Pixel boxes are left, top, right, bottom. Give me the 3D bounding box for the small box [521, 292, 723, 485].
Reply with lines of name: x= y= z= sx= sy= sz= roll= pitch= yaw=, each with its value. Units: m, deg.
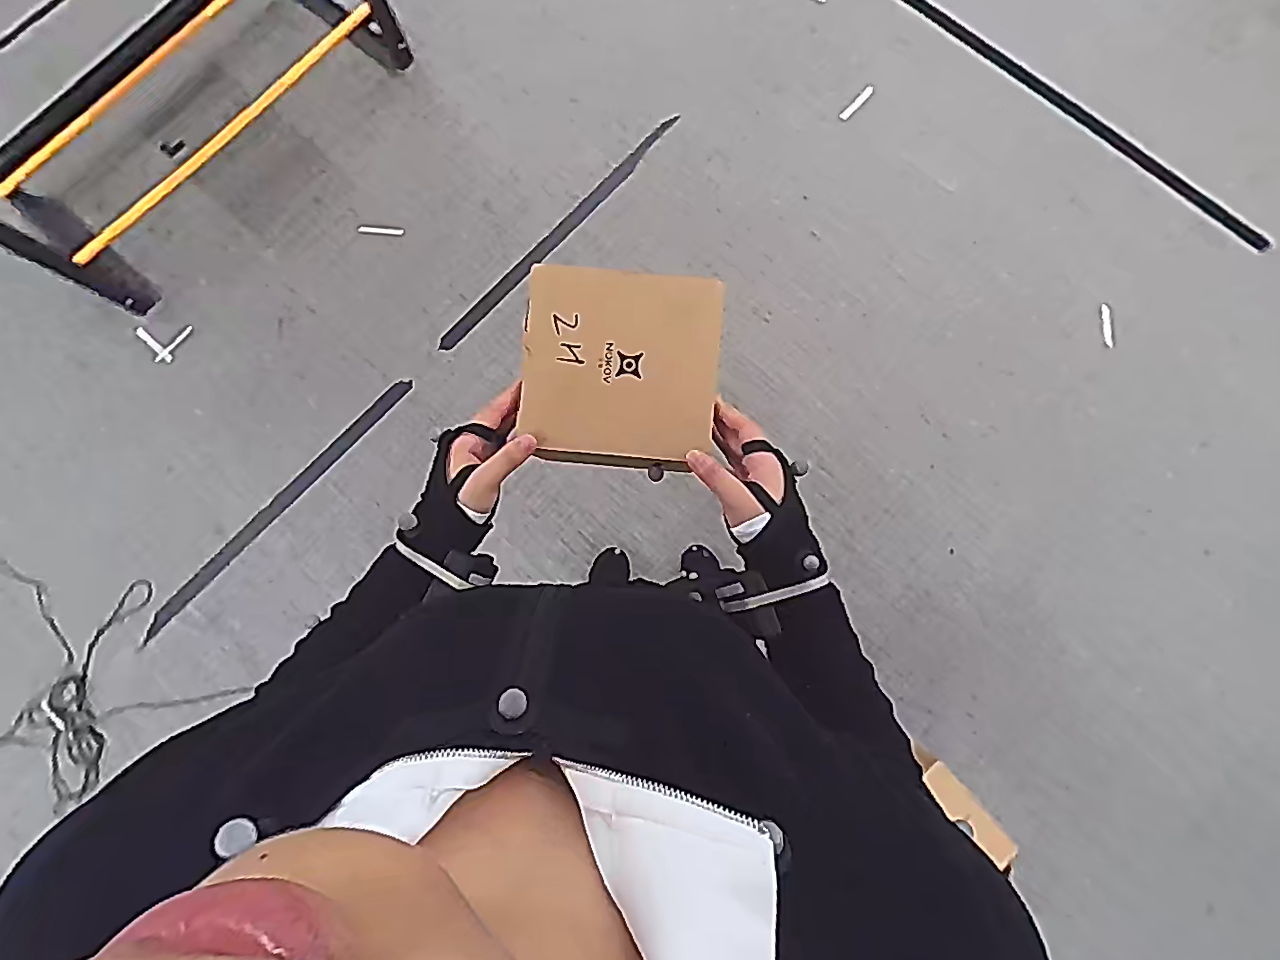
small box: x=-0.017 y=-0.083 z=0.577 sx=0.179 sy=0.176 sz=0.168 roll=5 pitch=88 yaw=0
